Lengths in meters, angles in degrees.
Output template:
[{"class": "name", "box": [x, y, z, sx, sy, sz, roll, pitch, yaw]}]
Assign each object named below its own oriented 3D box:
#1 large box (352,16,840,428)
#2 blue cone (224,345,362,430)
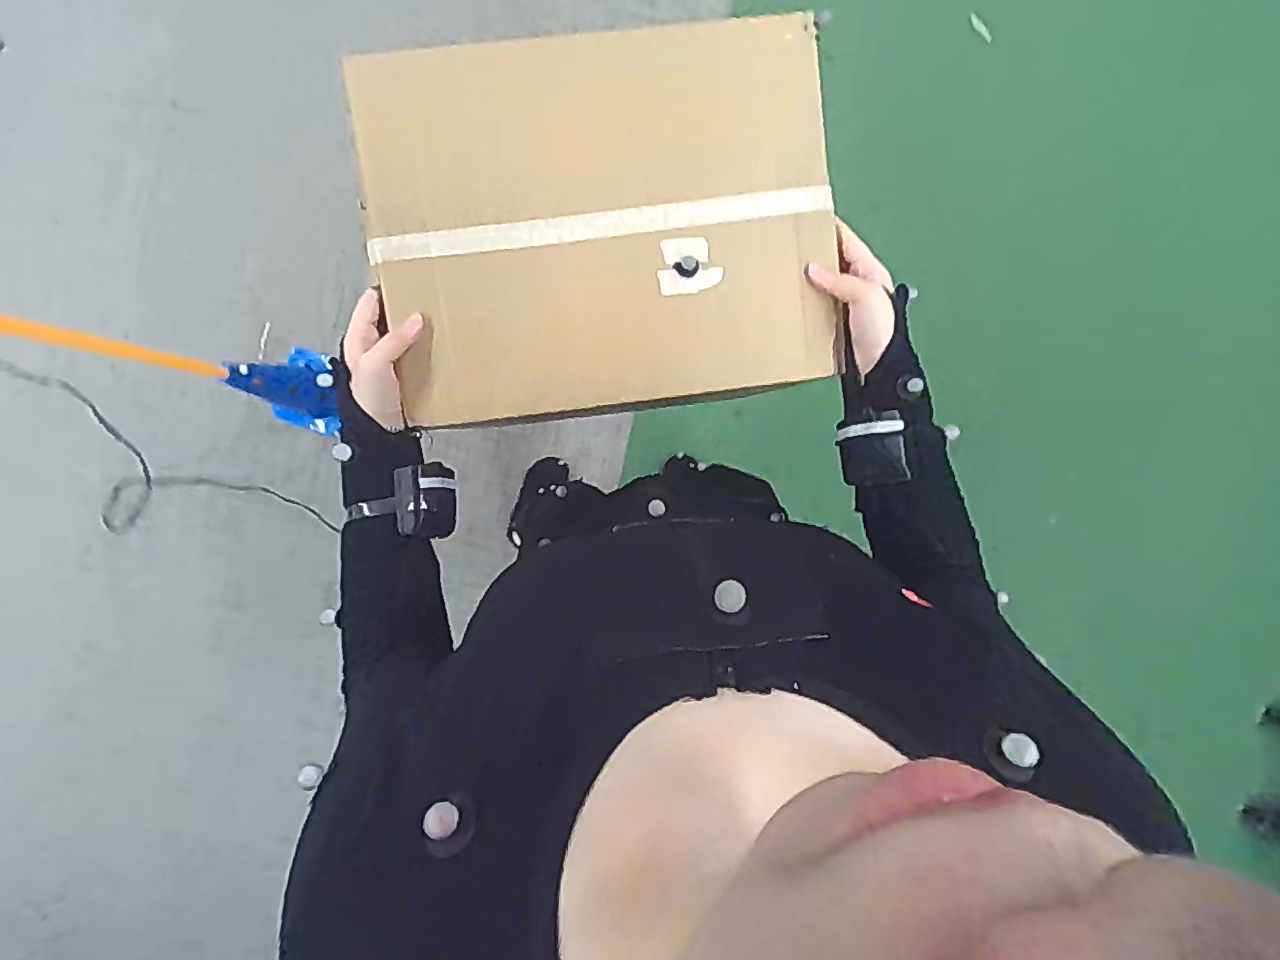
[{"class": "large box", "box": [-0.041, -0.244, 0.632, 0.408, 0.320, 0.320, -9, 97, -4]}, {"class": "blue cone", "box": [-0.834, -0.236, 1.260, 0.192, 0.380, 0.193, 22, 91, -5]}]
